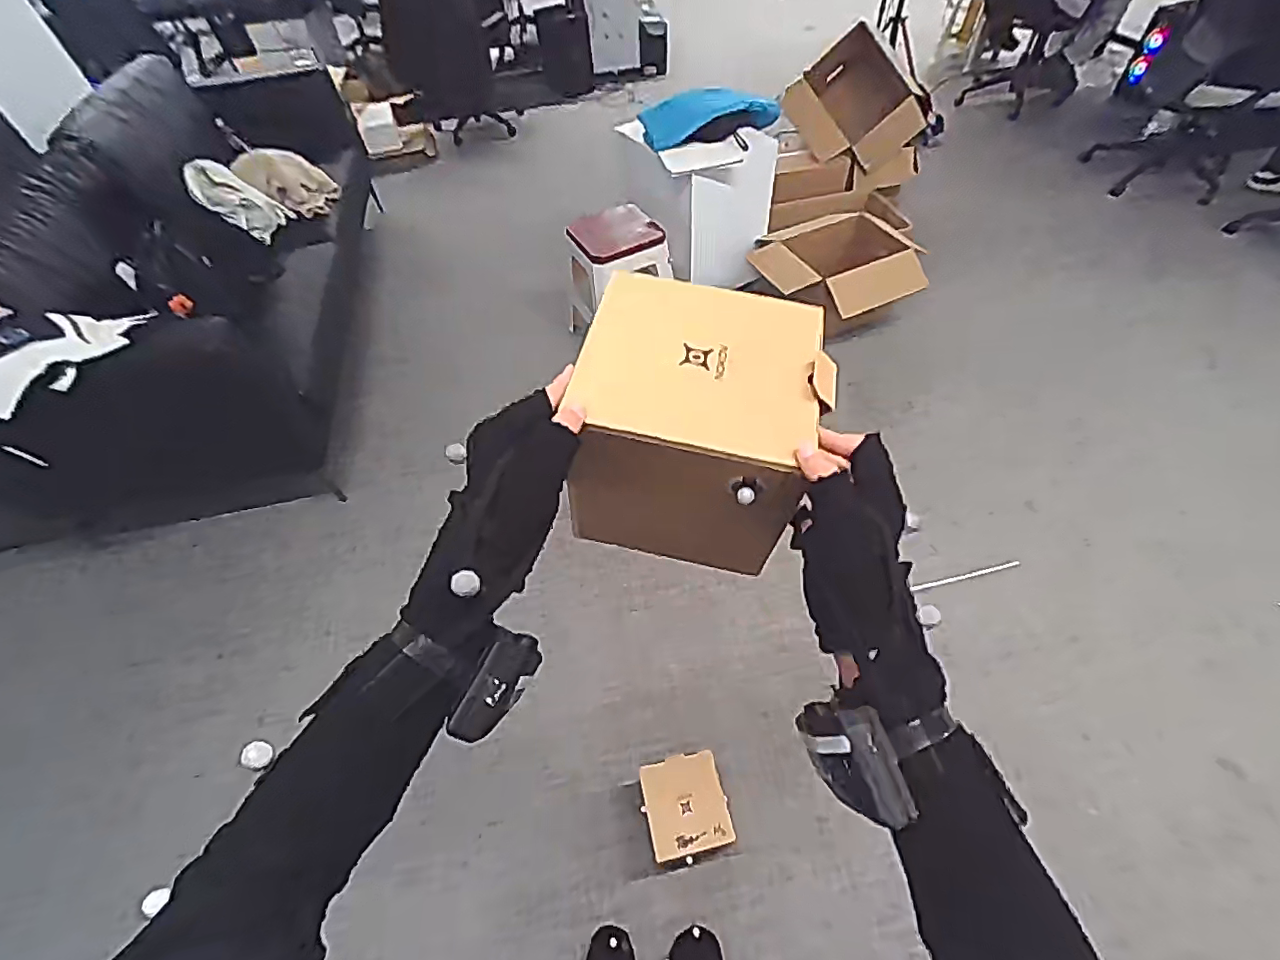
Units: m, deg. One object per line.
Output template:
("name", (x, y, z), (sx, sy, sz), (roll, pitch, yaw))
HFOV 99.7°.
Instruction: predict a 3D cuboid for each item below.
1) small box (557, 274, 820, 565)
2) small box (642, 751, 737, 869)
("small box", (0.040, -0.045, 0.464), (0.179, 0.176, 0.168), (12, 56, 4))
("small box", (0.102, 0.721, 1.177), (0.168, 0.176, 0.179), (-12, 51, -4))
